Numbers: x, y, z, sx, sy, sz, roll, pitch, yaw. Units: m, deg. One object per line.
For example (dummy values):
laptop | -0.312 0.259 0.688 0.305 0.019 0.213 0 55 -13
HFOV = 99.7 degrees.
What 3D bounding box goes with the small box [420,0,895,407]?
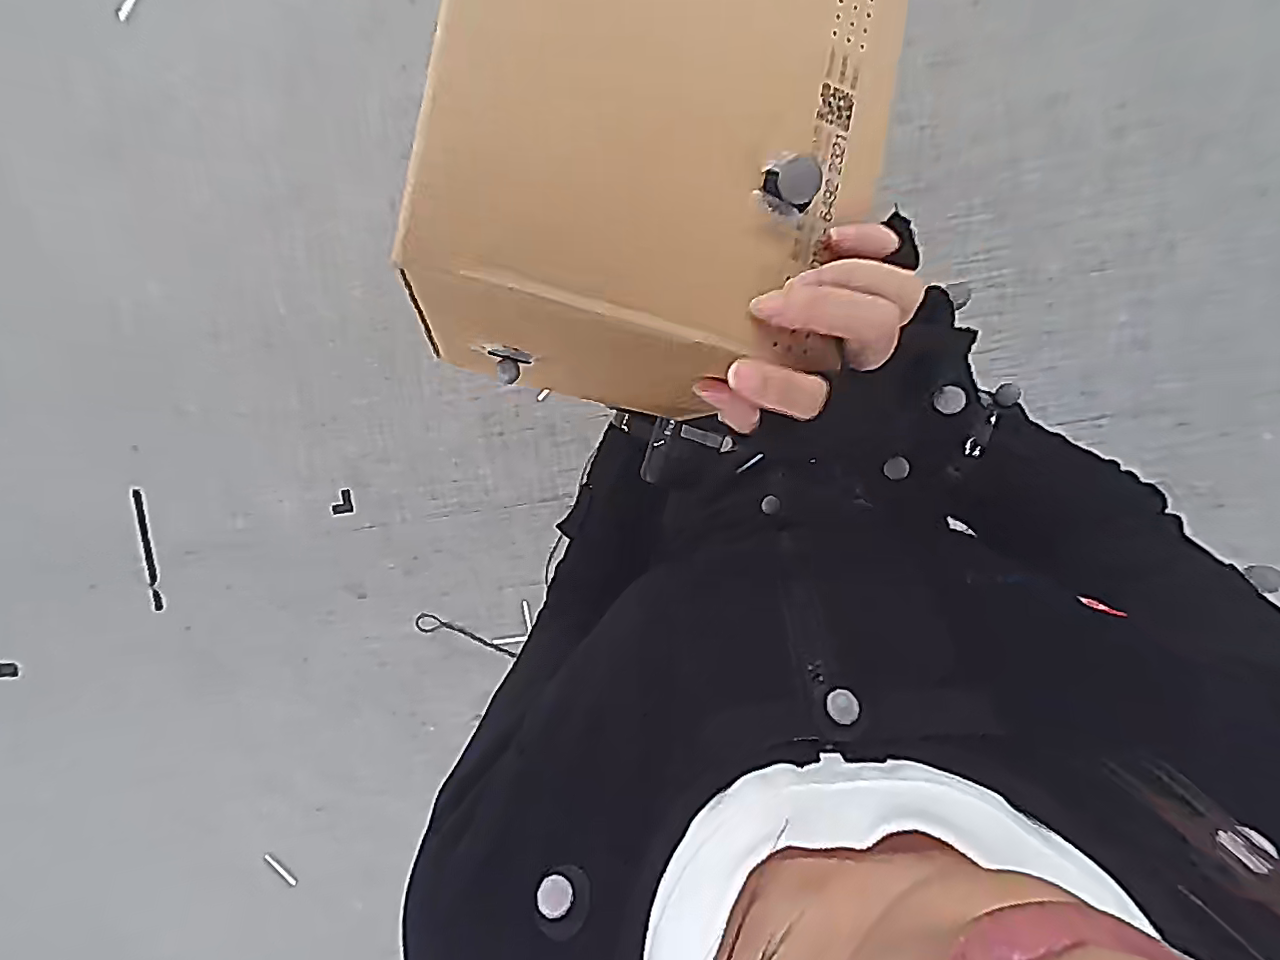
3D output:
small box | -0.003 -0.141 0.291 0.176 0.179 0.168 11 89 -16
